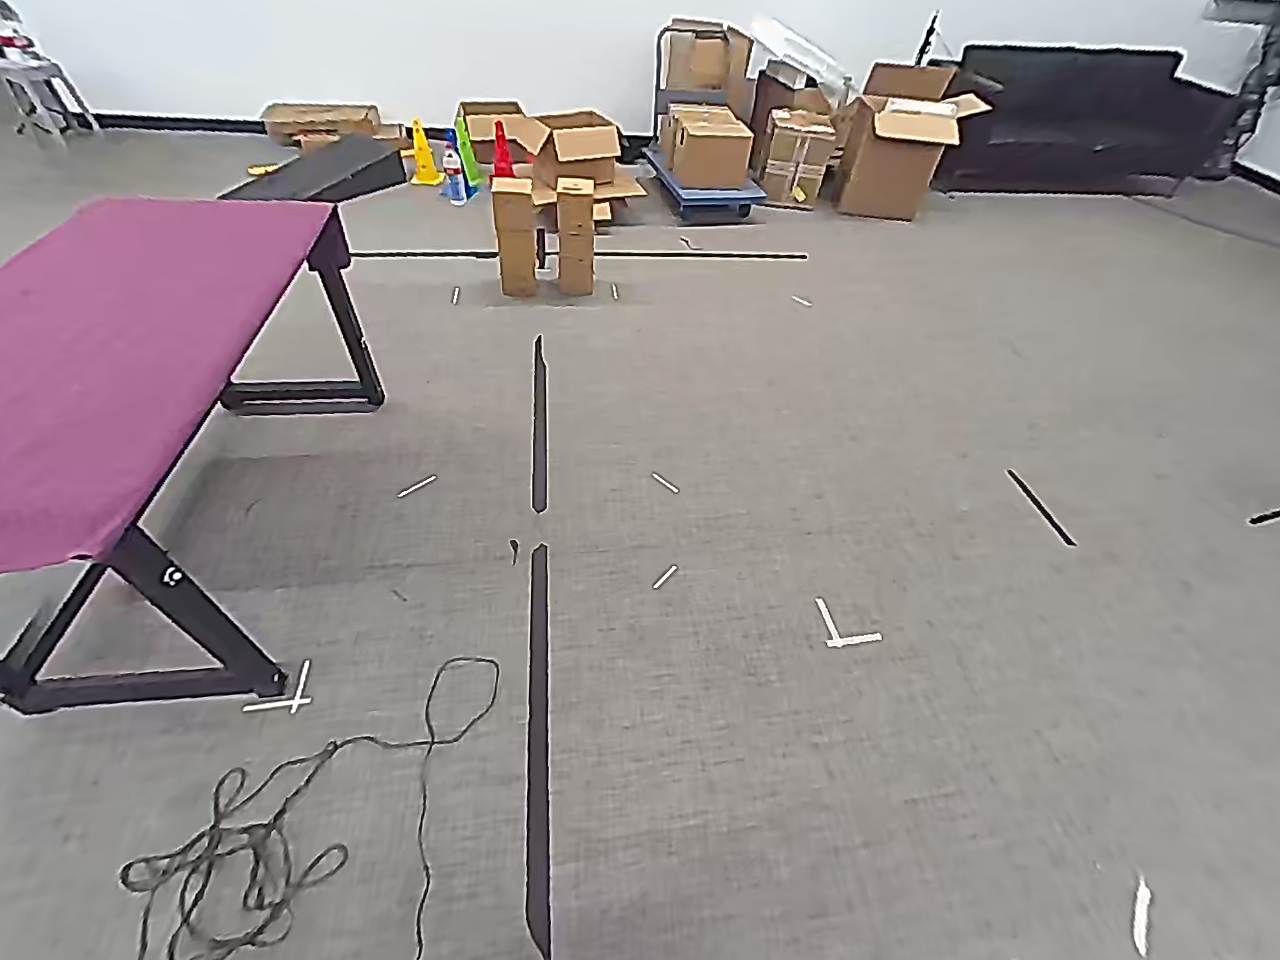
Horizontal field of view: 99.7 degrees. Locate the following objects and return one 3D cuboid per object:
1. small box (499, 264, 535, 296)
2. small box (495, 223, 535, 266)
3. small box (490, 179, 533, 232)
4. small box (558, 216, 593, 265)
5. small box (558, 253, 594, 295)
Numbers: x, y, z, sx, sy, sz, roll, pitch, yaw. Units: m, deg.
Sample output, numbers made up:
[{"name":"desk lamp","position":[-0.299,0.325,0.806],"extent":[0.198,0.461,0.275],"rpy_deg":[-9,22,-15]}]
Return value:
[{"name":"small box","position":[-0.618,-1.046,2.731],"extent":[0.168,0.176,0.179],"rpy_deg":[-3,47,-10]},{"name":"small box","position":[-0.600,-1.149,2.606],"extent":[0.179,0.176,0.168],"rpy_deg":[-2,48,-10]},{"name":"small box","position":[-0.587,-1.260,2.486],"extent":[0.179,0.176,0.168],"rpy_deg":[-1,49,-10]},{"name":"small box","position":[-0.314,-1.174,2.656],"extent":[0.168,0.176,0.179],"rpy_deg":[0,47,-6]},{"name":"small box","position":[-0.331,-1.068,2.782],"extent":[0.179,0.176,0.168],"rpy_deg":[2,48,-6]}]
